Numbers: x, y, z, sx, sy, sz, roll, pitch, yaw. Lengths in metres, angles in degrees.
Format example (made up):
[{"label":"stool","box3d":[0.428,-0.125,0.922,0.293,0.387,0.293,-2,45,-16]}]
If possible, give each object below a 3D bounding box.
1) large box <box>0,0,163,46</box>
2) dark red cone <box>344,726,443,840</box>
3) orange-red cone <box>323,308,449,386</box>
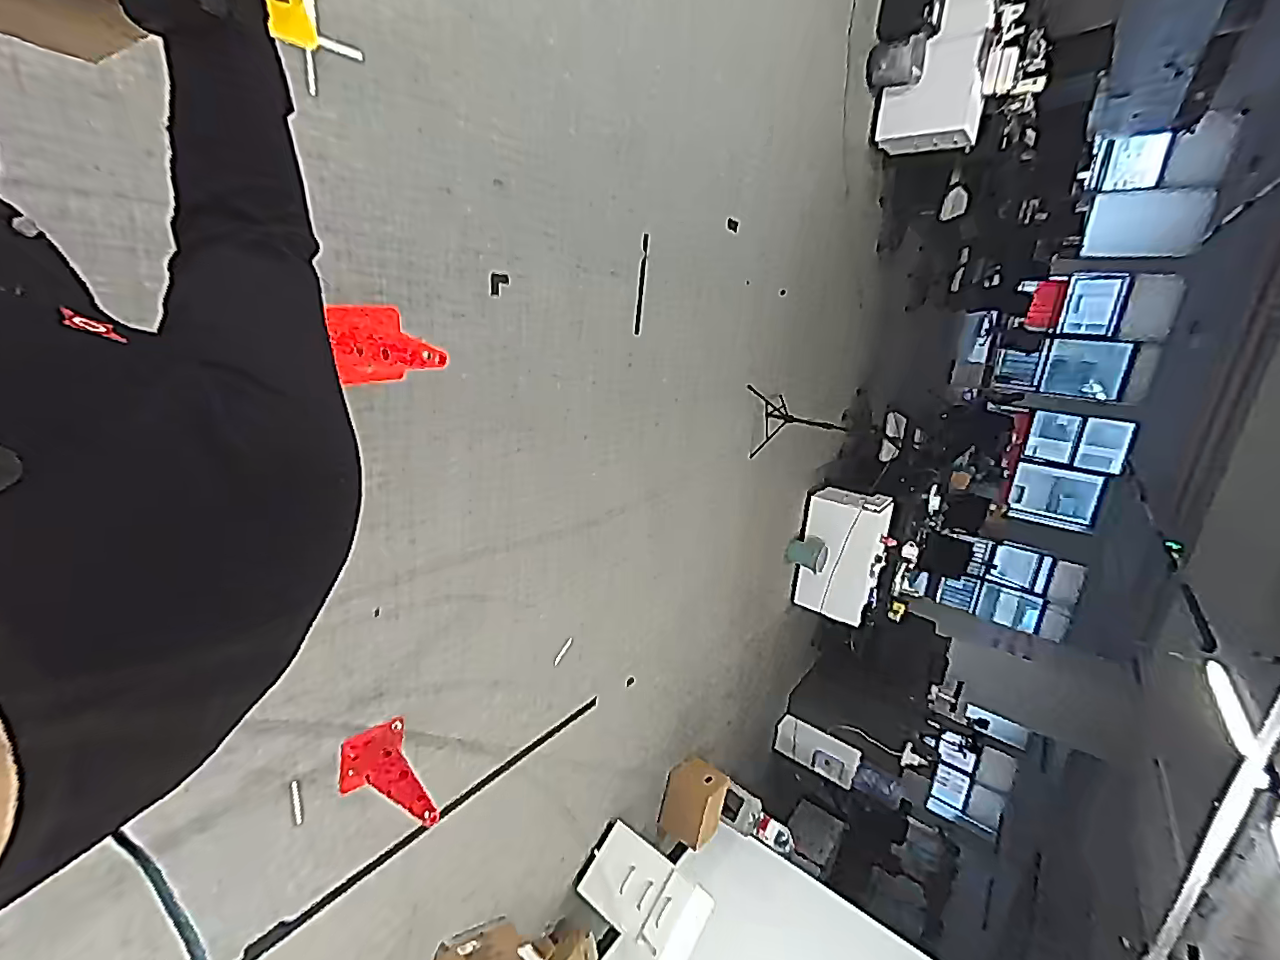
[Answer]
[{"label":"large box","box3d":[-0.537,-0.495,0.261,0.408,0.320,0.320,-12,120,-51]},{"label":"dark red cone","box3d":[-0.715,0.943,1.631,0.201,0.394,0.202,-7,109,-51]},{"label":"orange-red cone","box3d":[-0.592,-0.317,1.331,0.198,0.360,0.199,-20,118,-50]}]
